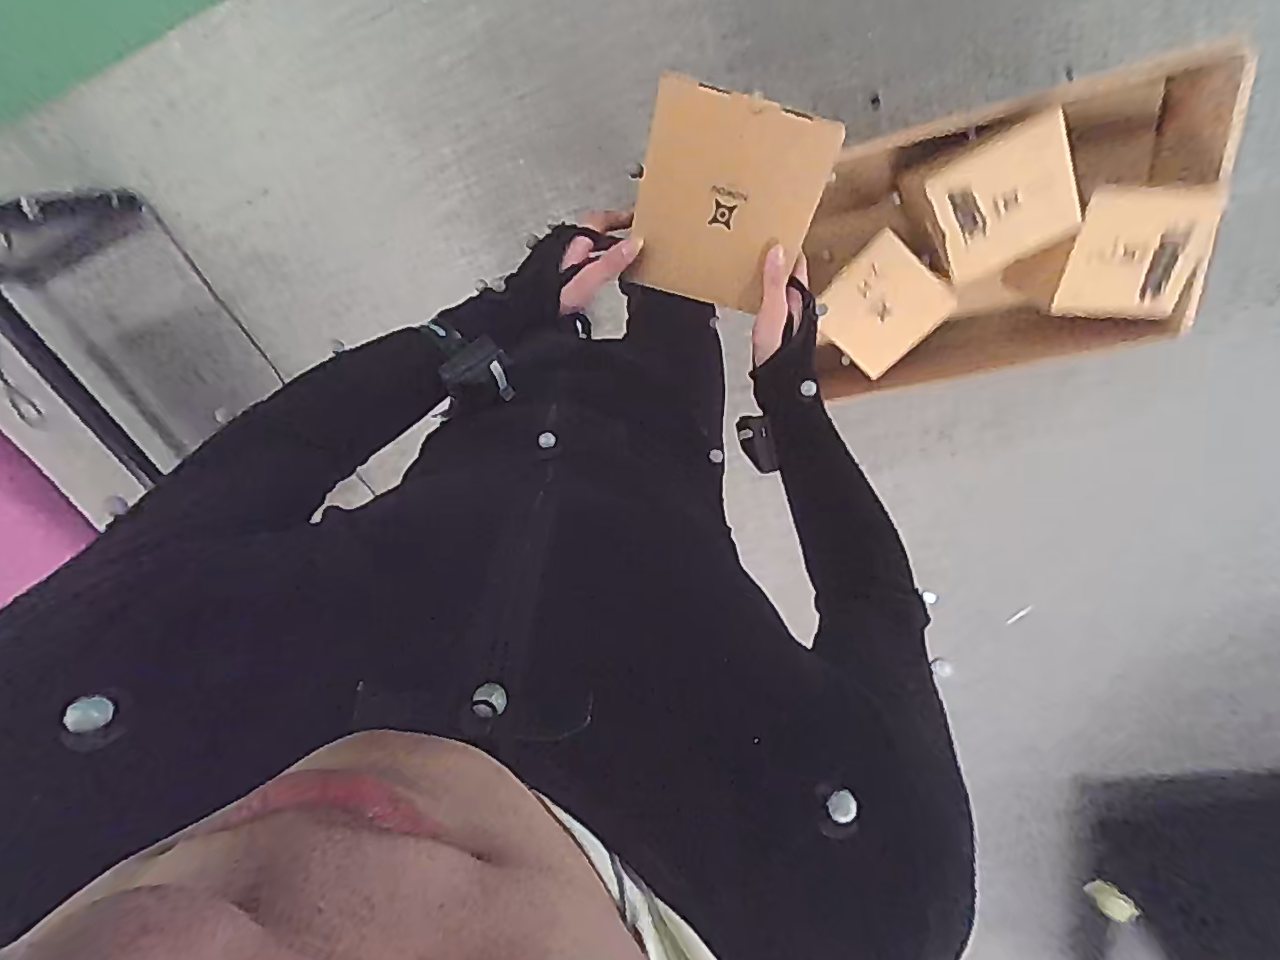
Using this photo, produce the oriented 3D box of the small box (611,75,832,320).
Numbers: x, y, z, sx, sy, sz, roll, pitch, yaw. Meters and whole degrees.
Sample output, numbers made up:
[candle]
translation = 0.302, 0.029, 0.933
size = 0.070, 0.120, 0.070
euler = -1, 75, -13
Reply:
[small box]
translation = 0.073, -0.294, 0.567
size = 0.168, 0.176, 0.179
euler = 12, 124, -5
